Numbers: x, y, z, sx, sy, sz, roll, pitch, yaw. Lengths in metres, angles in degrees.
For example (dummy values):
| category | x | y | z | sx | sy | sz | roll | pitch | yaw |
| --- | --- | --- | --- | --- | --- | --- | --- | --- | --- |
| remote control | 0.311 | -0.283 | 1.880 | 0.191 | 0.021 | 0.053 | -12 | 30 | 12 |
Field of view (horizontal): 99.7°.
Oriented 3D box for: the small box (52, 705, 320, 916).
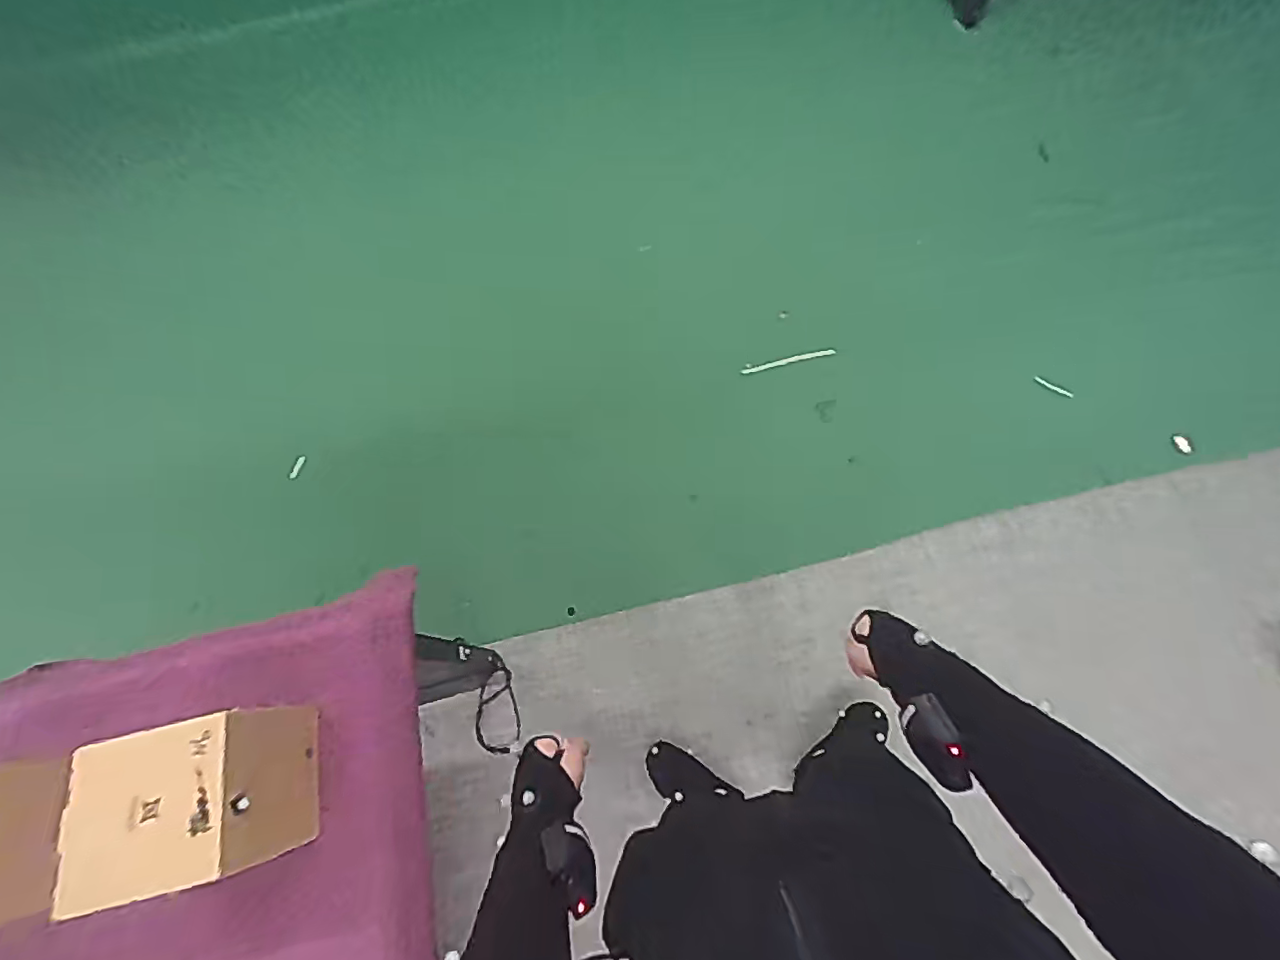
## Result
| category | x | y | z | sx | sy | sz | roll | pitch | yaw |
| --- | --- | --- | --- | --- | --- | --- | --- | --- | --- |
| small box | -0.522 | 0.377 | 0.650 | 0.179 | 0.176 | 0.168 | -14 | 70 | 0 |
